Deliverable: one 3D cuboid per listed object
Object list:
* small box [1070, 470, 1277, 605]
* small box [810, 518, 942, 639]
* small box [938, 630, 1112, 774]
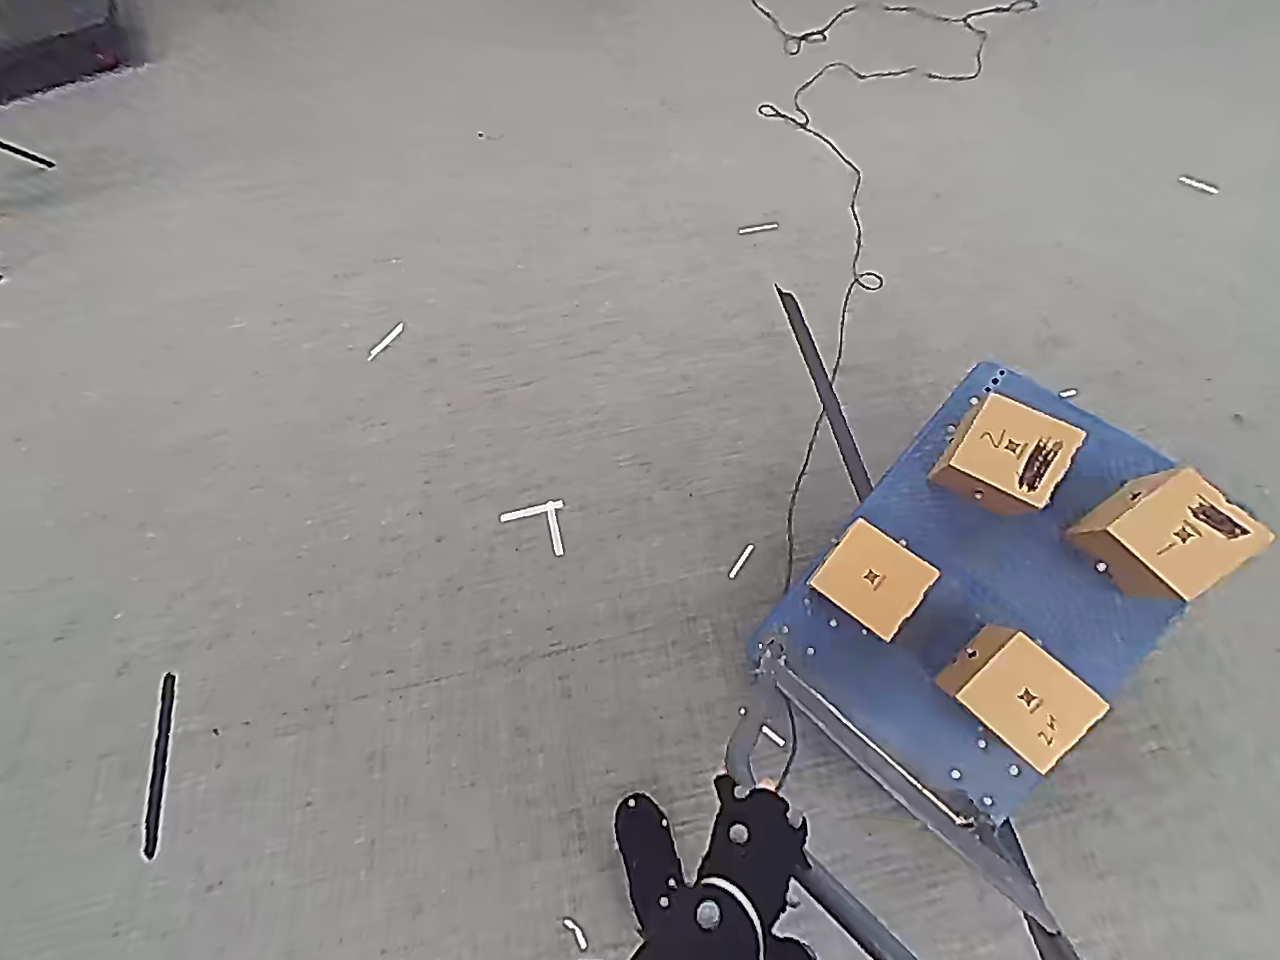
[{"bbox_3d":[0.957,0.108,0.994,0.179,0.176,0.168,-40,72,5],"label":"small box"},{"bbox_3d":[0.468,0.201,1.106,0.179,0.176,0.168,38,90,17],"label":"small box"},{"bbox_3d":[0.696,0.398,1.007,0.168,0.176,0.179,-46,72,3],"label":"small box"}]
